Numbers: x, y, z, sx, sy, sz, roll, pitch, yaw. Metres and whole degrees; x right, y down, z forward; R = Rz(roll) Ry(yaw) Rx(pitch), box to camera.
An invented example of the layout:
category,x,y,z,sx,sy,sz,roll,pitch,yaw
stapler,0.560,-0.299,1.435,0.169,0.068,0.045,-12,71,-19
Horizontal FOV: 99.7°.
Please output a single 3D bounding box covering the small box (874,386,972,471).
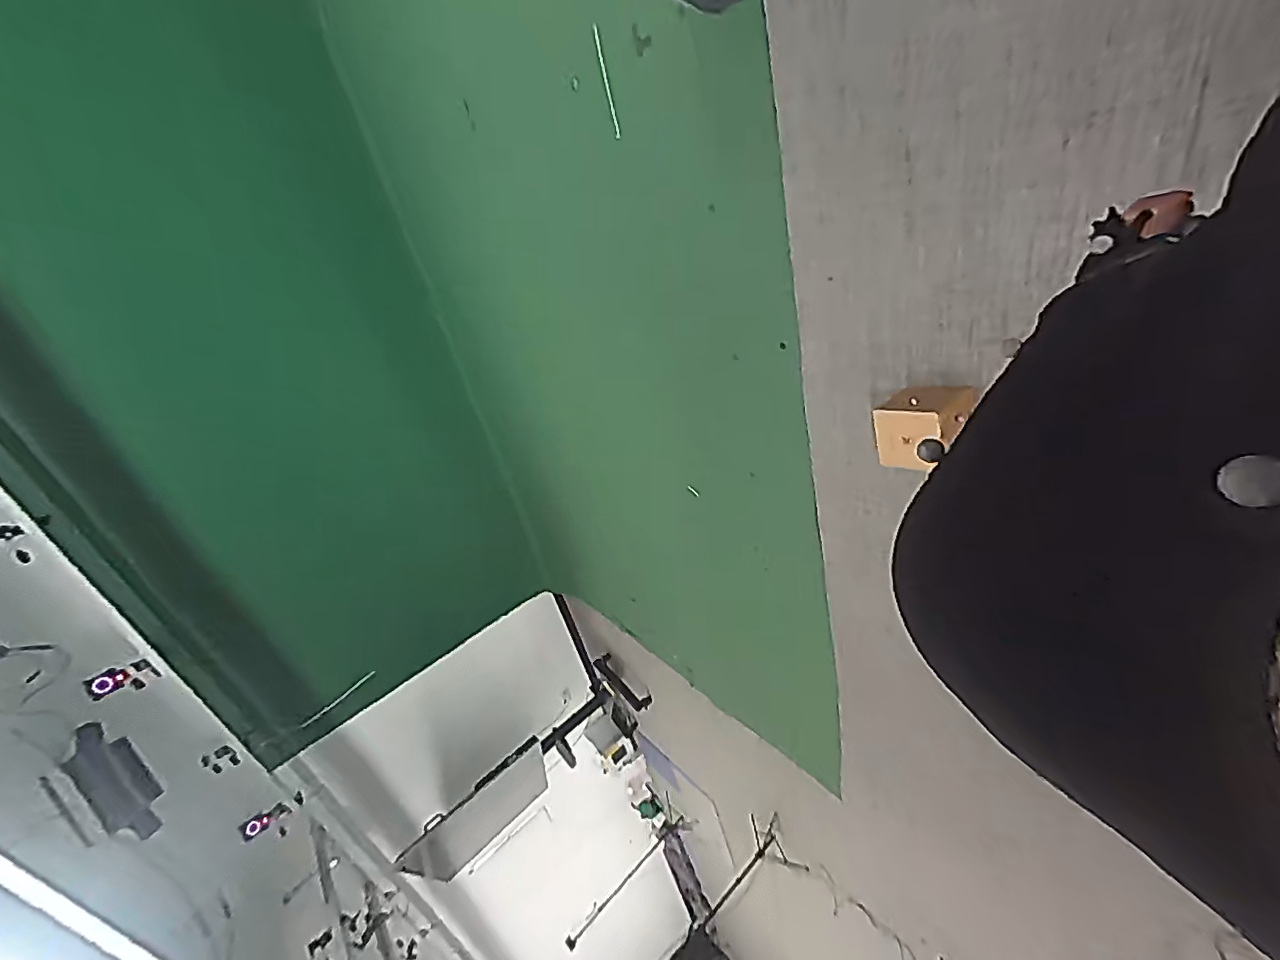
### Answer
category,x,y,z,sx,sy,sz,roll,pitch,yaw
small box,0.747,-0.142,1.417,0.179,0.176,0.168,14,128,54
